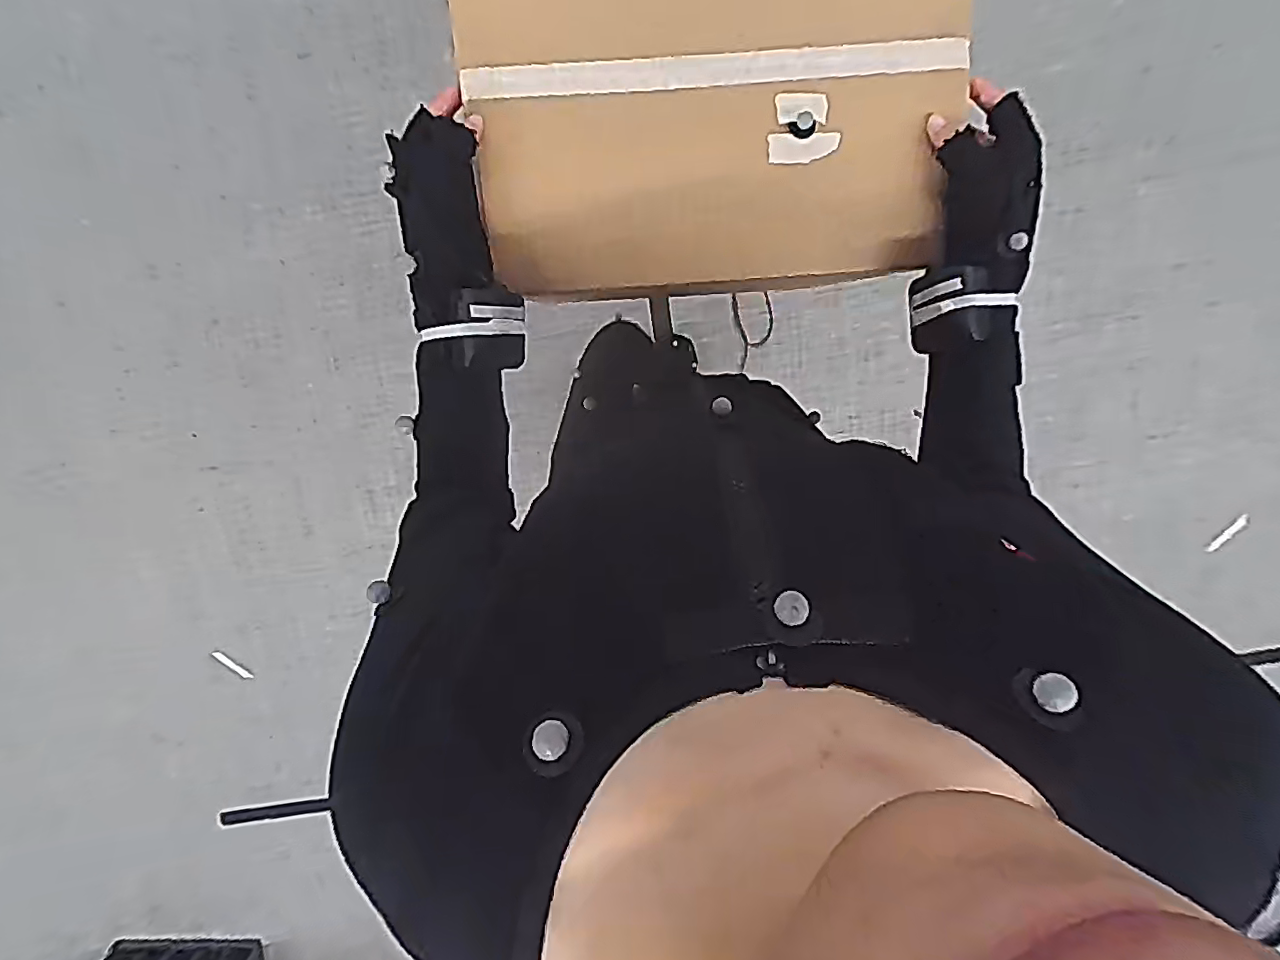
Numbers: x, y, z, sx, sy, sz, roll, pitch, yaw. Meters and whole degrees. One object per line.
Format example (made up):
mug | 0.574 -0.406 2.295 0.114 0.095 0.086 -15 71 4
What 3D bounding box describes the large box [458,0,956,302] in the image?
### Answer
large box | 0.051 -0.376 0.585 0.408 0.320 0.320 -4 107 -2
